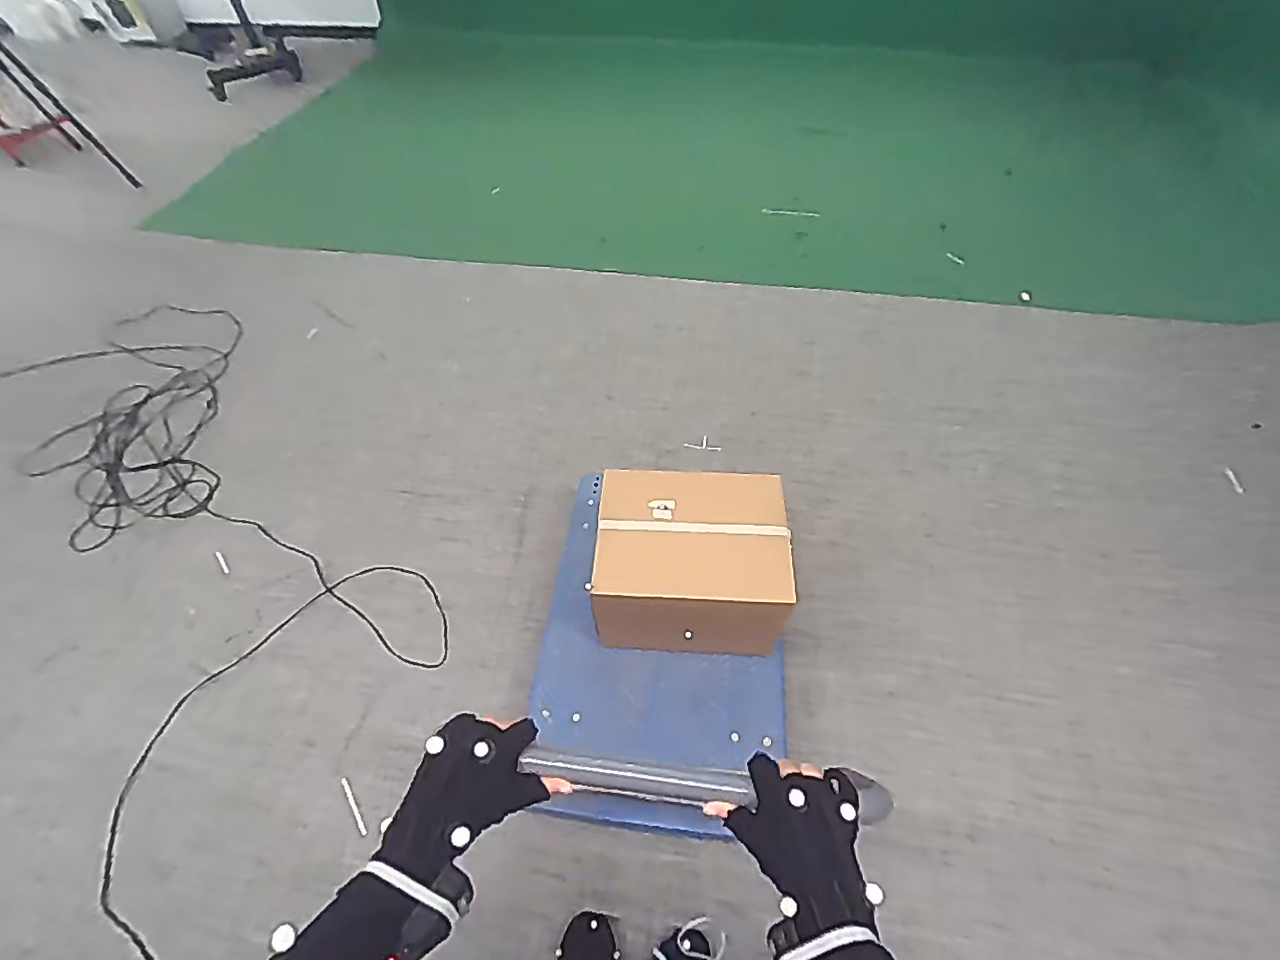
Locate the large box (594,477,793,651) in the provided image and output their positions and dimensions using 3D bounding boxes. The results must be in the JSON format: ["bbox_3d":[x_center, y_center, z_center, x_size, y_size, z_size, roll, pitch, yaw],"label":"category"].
[{"bbox_3d":[0.116,0.205,1.279,0.408,0.320,0.320,1,53,3],"label":"large box"}]
